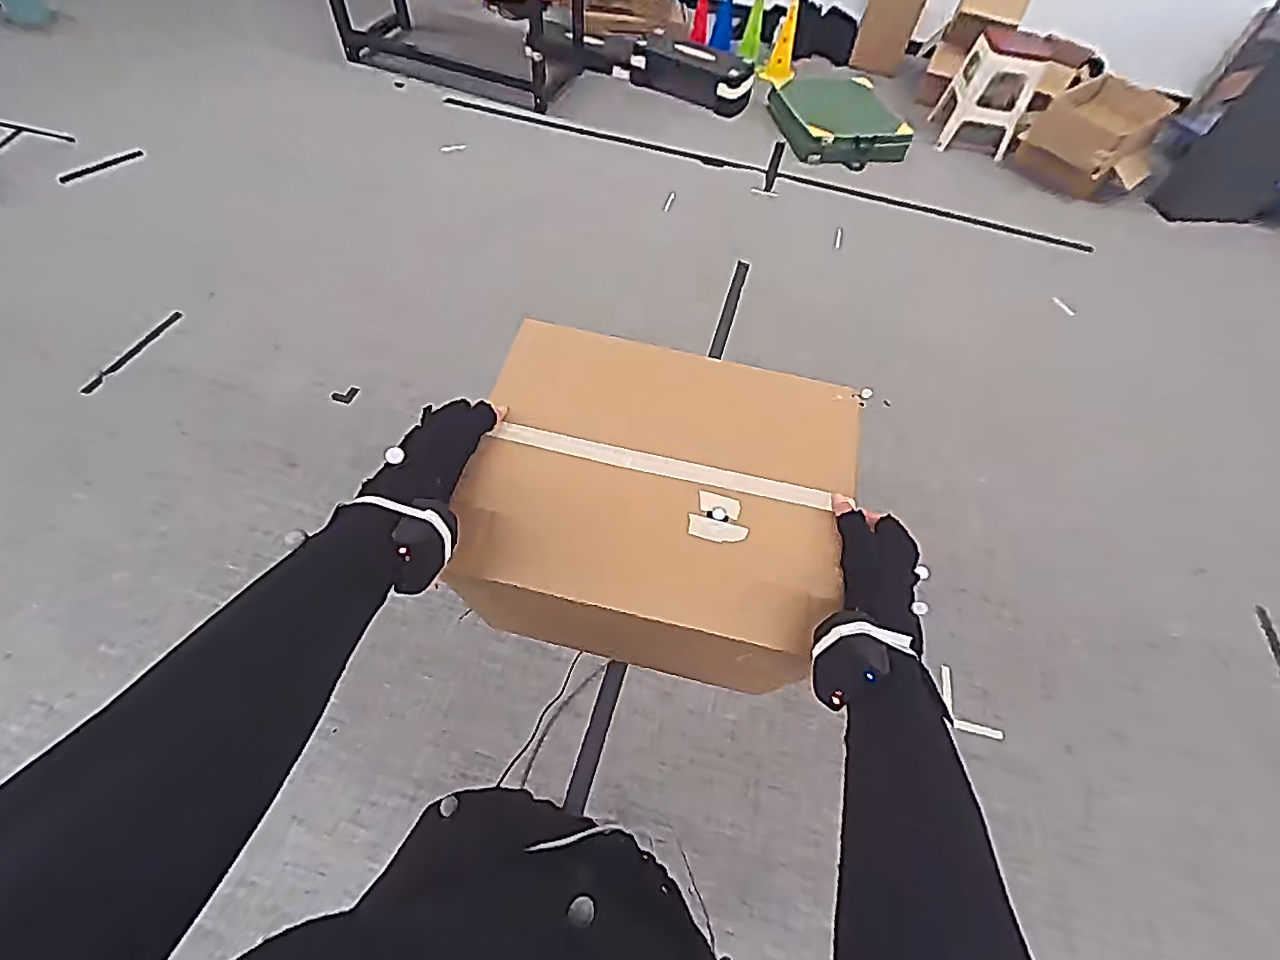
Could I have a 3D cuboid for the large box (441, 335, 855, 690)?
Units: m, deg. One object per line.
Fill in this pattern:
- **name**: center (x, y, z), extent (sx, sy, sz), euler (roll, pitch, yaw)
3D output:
- **large box**: center (0.019, 0.061, 0.714), extent (0.408, 0.320, 0.320), euler (13, 65, 3)
